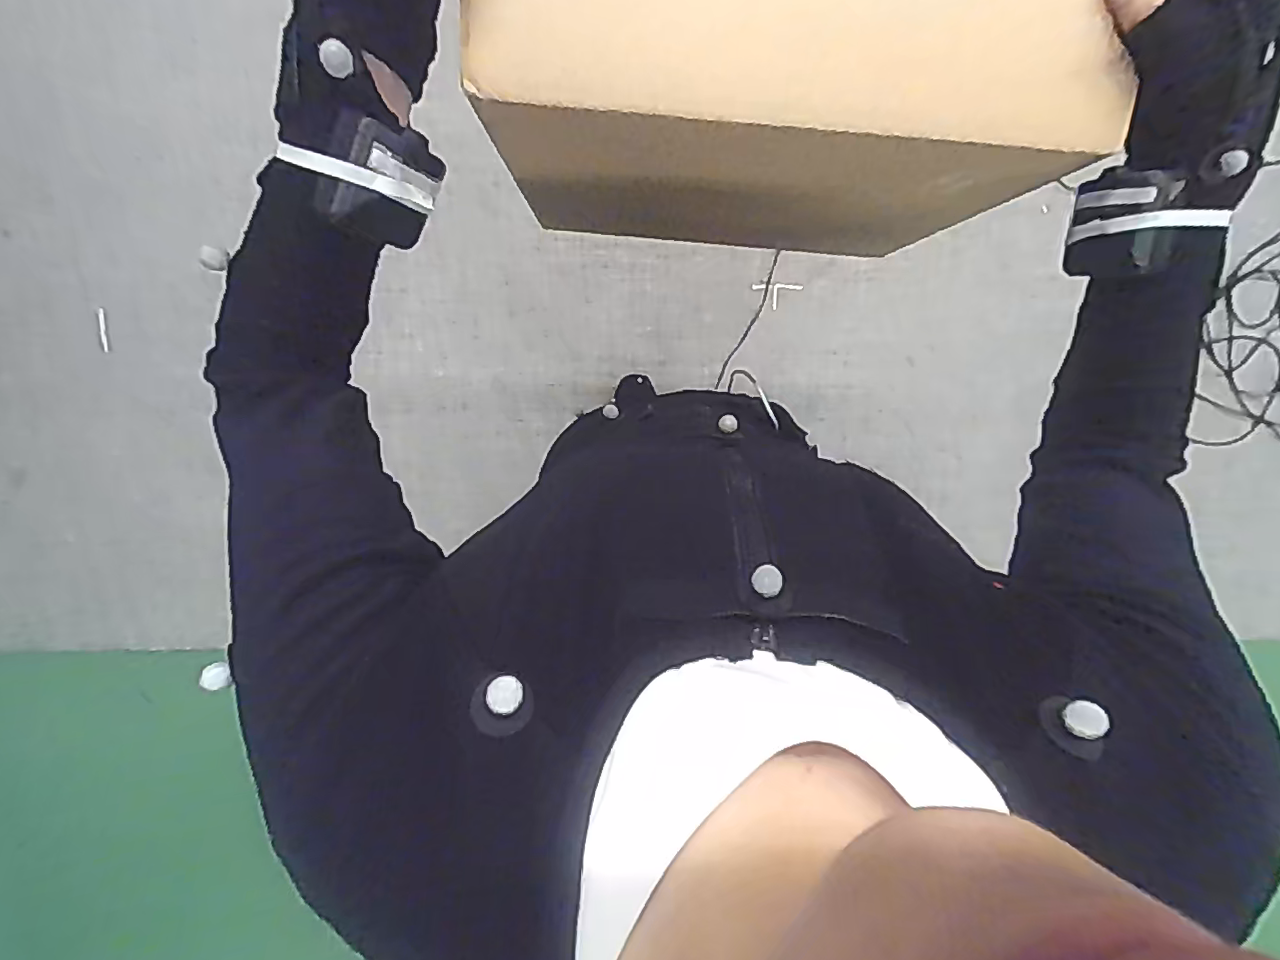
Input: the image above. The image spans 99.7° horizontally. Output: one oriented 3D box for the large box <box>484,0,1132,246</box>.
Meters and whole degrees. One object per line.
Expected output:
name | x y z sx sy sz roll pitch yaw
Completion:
large box | 0.101 -0.404 0.455 0.408 0.320 0.320 3 102 -4
